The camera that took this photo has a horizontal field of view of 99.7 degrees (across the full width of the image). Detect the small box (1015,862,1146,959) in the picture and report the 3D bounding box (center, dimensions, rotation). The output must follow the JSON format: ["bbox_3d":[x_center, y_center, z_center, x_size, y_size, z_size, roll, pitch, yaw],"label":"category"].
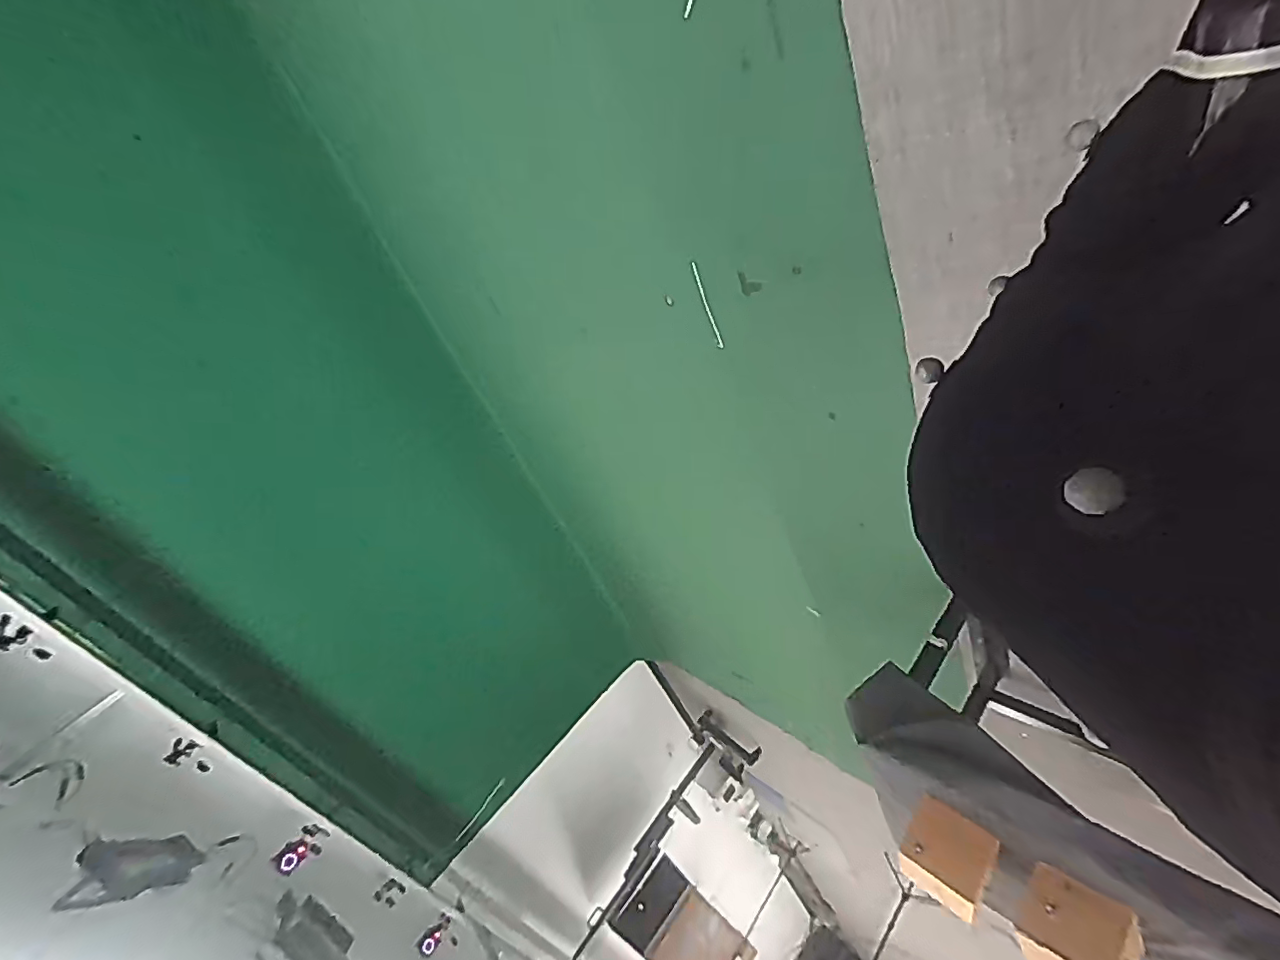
[{"bbox_3d":[0.930,0.964,1.141,0.168,0.176,0.179,6,134,56],"label":"small box"}]

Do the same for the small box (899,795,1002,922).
[{"bbox_3d":[0.771,0.932,1.343,0.179,0.176,0.168,21,144,44],"label":"small box"}]
